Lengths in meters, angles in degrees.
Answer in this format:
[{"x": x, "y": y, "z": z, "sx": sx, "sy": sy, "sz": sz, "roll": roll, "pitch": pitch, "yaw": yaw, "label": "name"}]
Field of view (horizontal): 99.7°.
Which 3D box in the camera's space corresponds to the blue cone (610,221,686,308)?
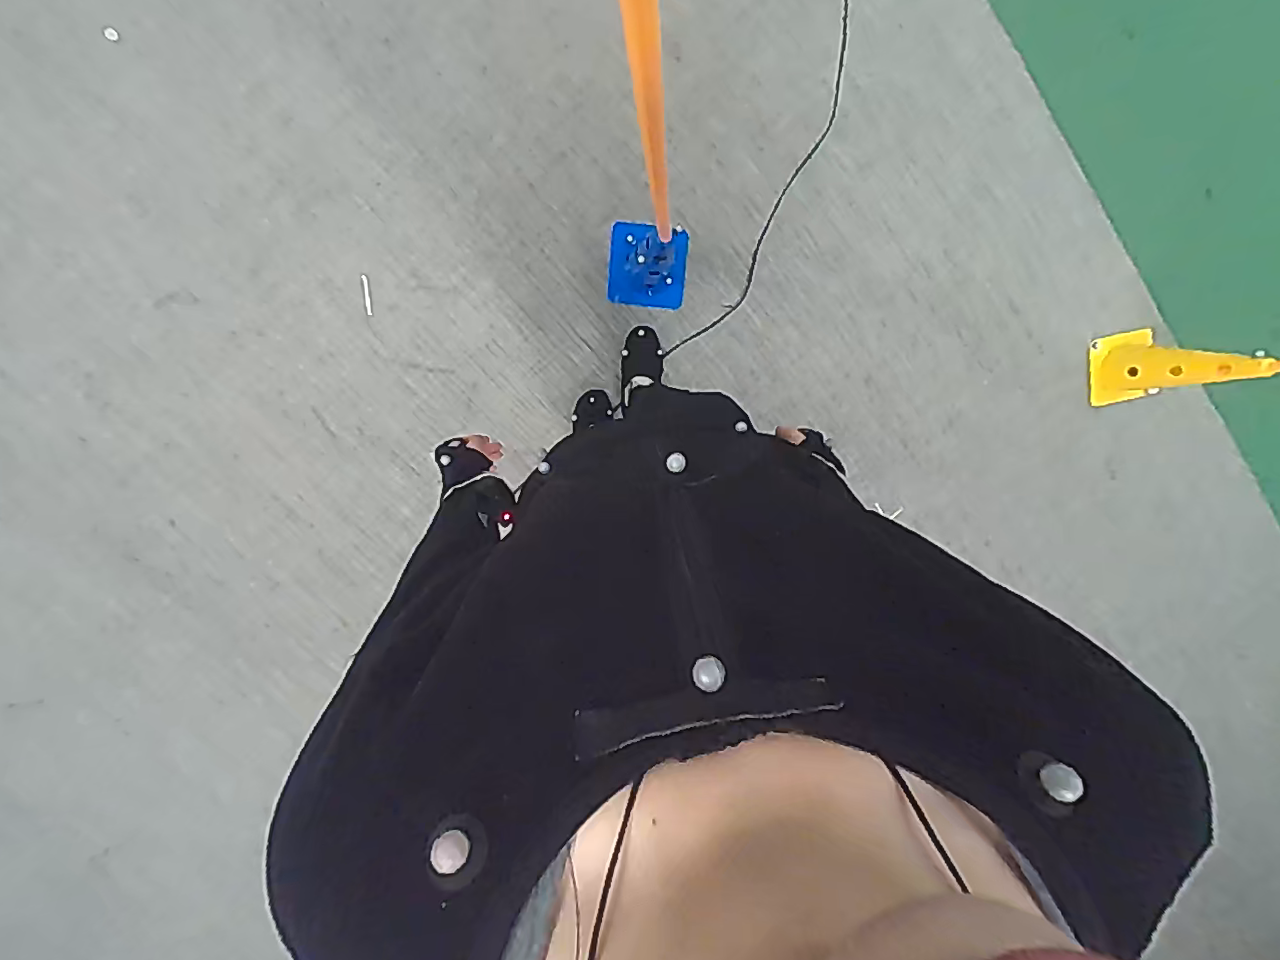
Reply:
[{"x": 0.031, "y": -0.507, "z": 1.220, "sx": 0.193, "sy": 0.380, "sz": 0.192, "roll": 3, "pitch": 102, "yaw": -5, "label": "blue cone"}]
